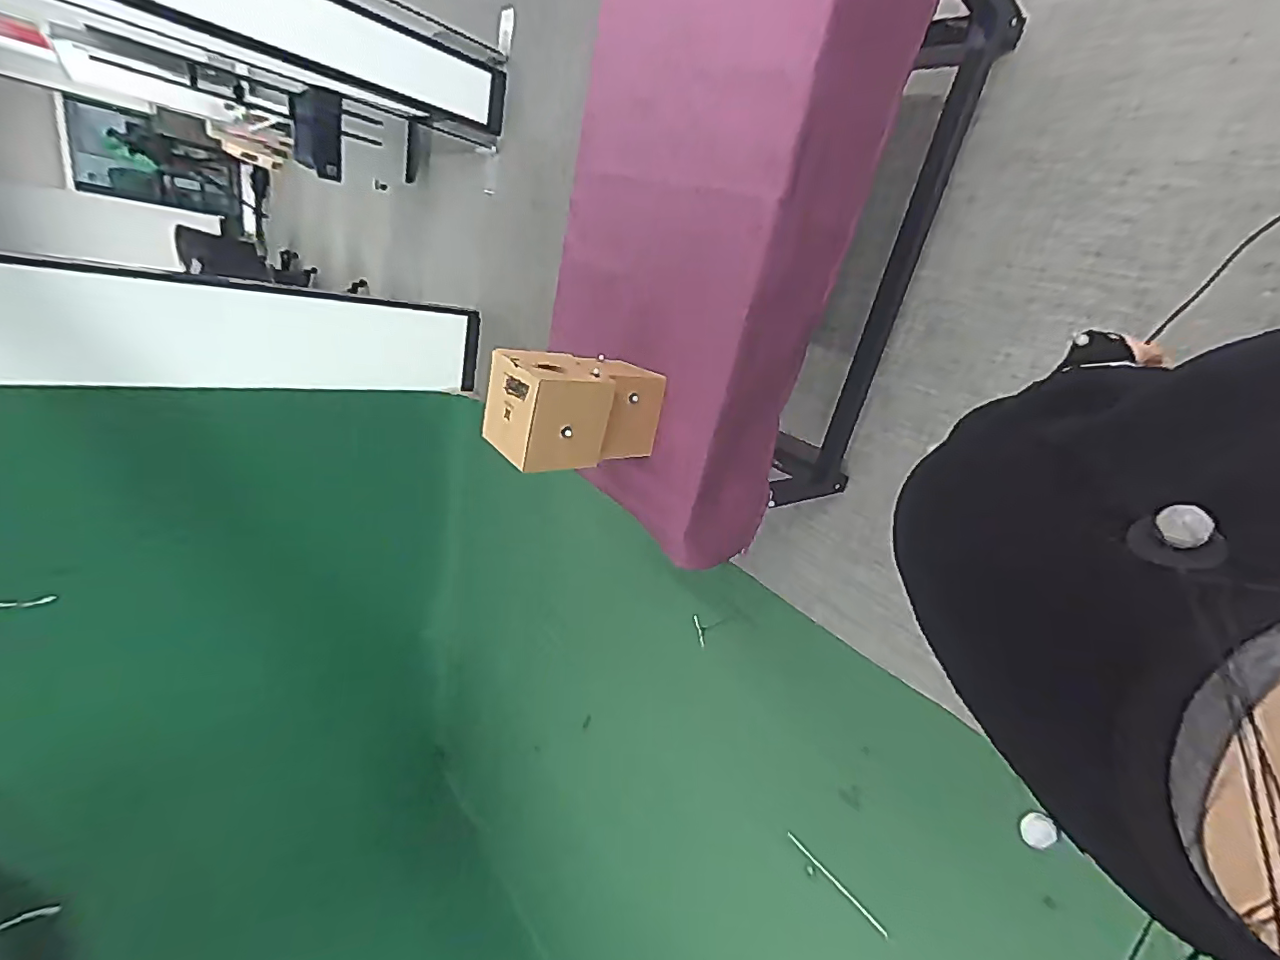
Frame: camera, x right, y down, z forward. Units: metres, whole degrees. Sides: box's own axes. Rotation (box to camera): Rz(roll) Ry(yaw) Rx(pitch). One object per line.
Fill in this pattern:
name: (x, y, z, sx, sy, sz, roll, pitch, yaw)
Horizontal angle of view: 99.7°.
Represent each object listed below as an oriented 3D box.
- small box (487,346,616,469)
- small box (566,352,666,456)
small box: (-0.167, -0.141, 1.029, 0.168, 0.176, 0.179, 37, 122, 39)
small box: (-0.066, -0.164, 1.159, 0.168, 0.176, 0.179, 31, 117, 41)
